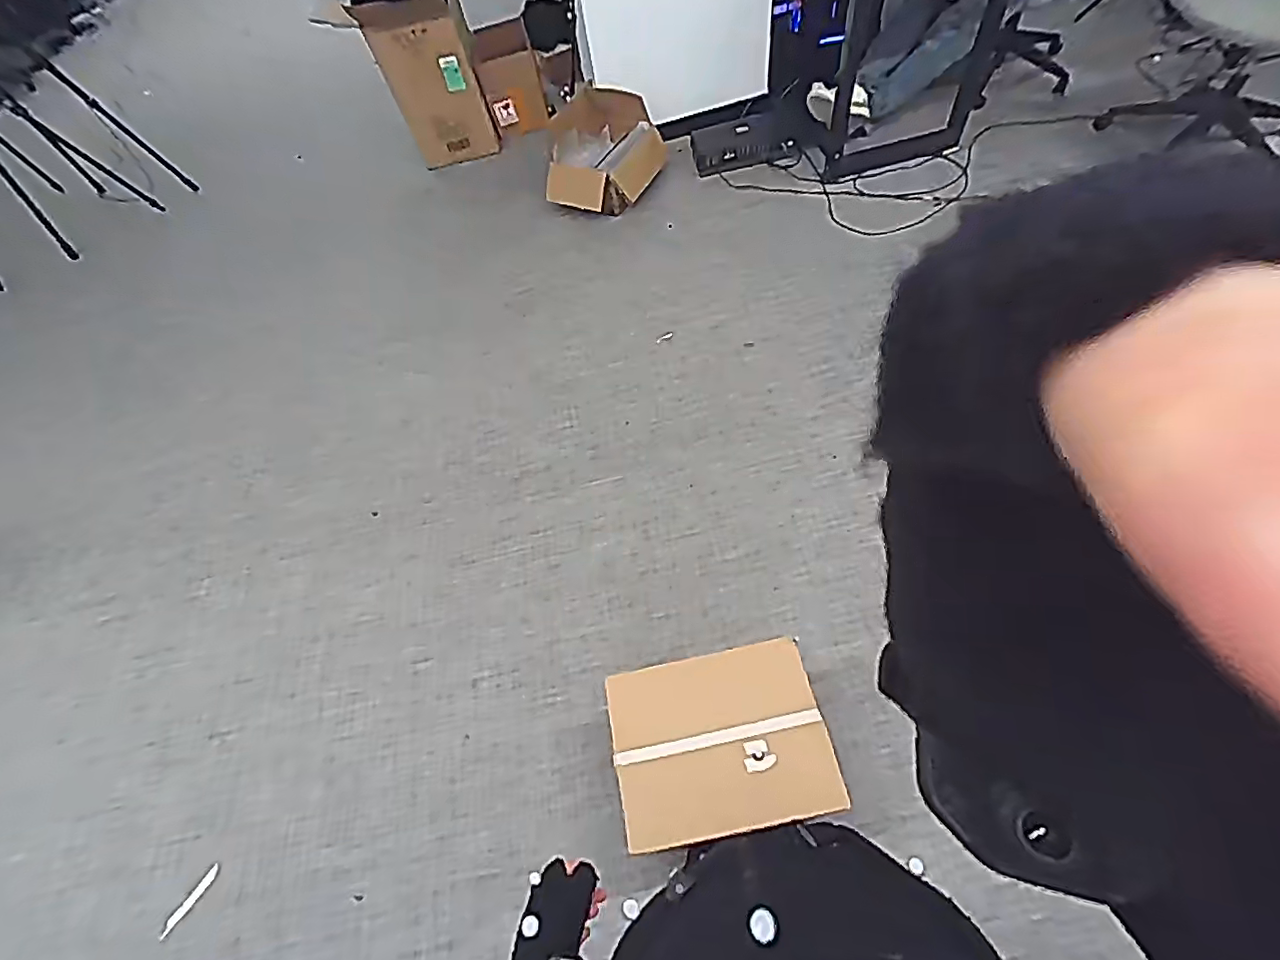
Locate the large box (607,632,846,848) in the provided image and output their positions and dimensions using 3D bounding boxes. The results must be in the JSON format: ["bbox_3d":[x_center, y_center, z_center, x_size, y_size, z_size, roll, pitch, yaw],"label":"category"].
[{"bbox_3d":[0.169,0.566,1.172,0.408,0.320,0.320,-13,59,1],"label":"large box"}]
